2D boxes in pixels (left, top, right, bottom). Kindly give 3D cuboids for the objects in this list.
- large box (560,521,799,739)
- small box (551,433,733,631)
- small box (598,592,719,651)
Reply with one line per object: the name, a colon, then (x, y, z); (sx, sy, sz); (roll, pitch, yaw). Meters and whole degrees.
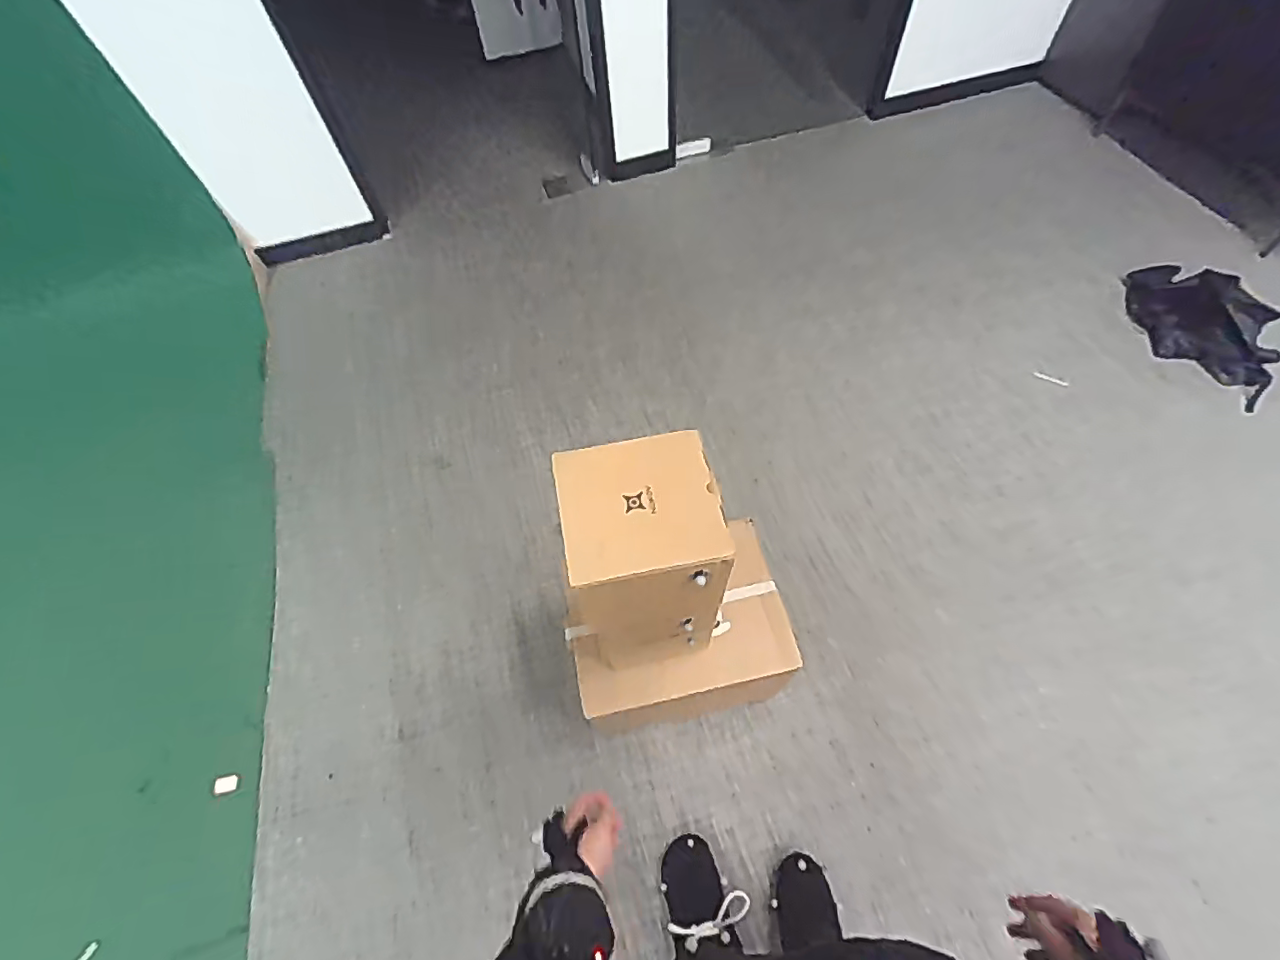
large box: (0.067, 0.329, 1.158); (0.408, 0.320, 0.320); (-12, 60, -5)
small box: (-0.001, 0.070, 0.652); (0.179, 0.176, 0.168); (-10, 59, -5)
small box: (0.009, 0.141, 0.799); (0.168, 0.176, 0.179); (-12, 58, -6)
